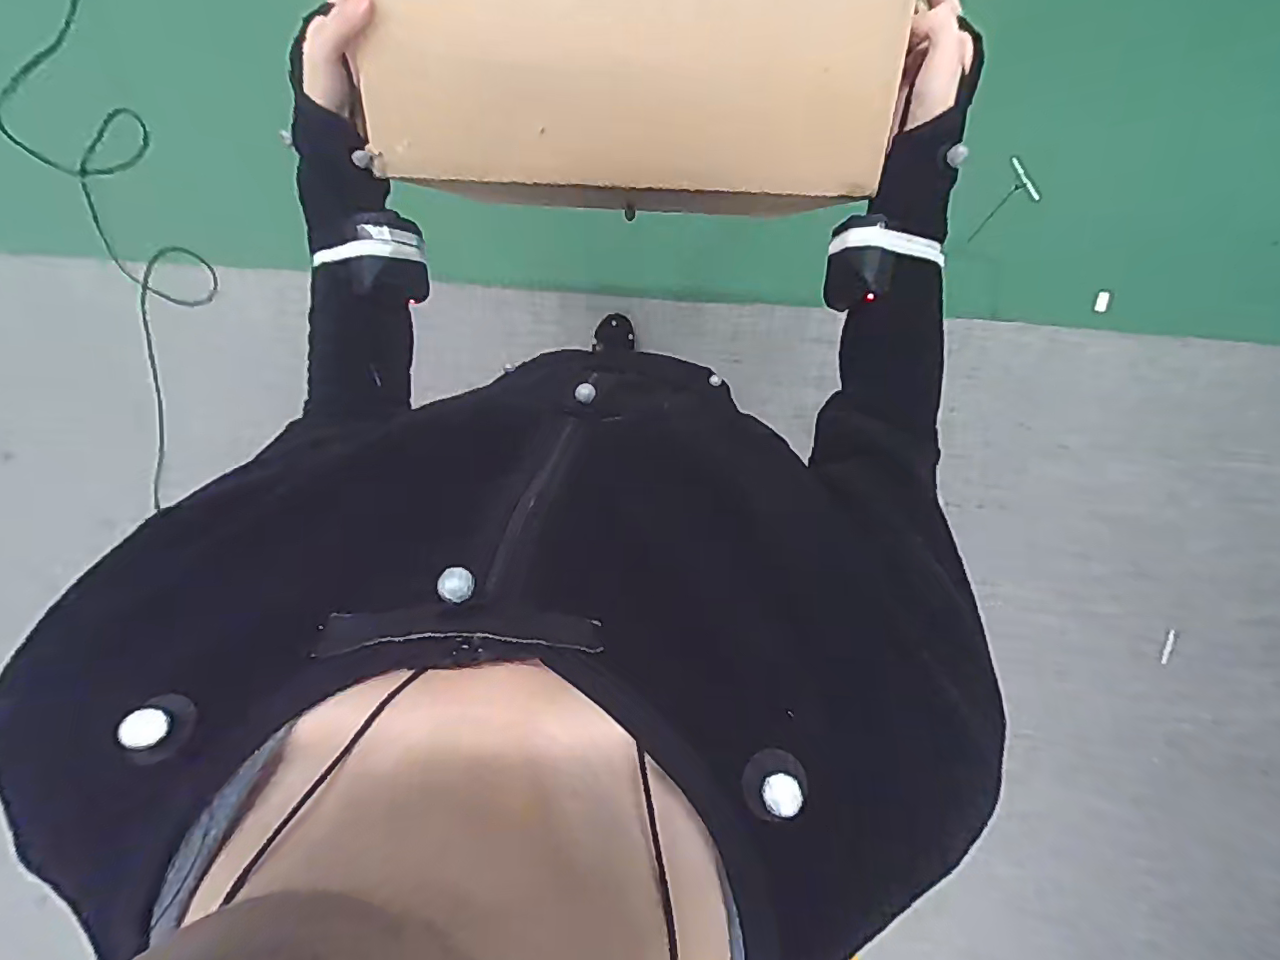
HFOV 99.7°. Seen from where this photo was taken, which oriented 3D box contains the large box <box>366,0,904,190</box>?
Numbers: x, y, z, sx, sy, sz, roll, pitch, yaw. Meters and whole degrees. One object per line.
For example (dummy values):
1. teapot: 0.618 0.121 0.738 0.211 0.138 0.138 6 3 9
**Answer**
1. large box: 0.001 -0.458 0.513 0.408 0.320 0.320 3 114 0
